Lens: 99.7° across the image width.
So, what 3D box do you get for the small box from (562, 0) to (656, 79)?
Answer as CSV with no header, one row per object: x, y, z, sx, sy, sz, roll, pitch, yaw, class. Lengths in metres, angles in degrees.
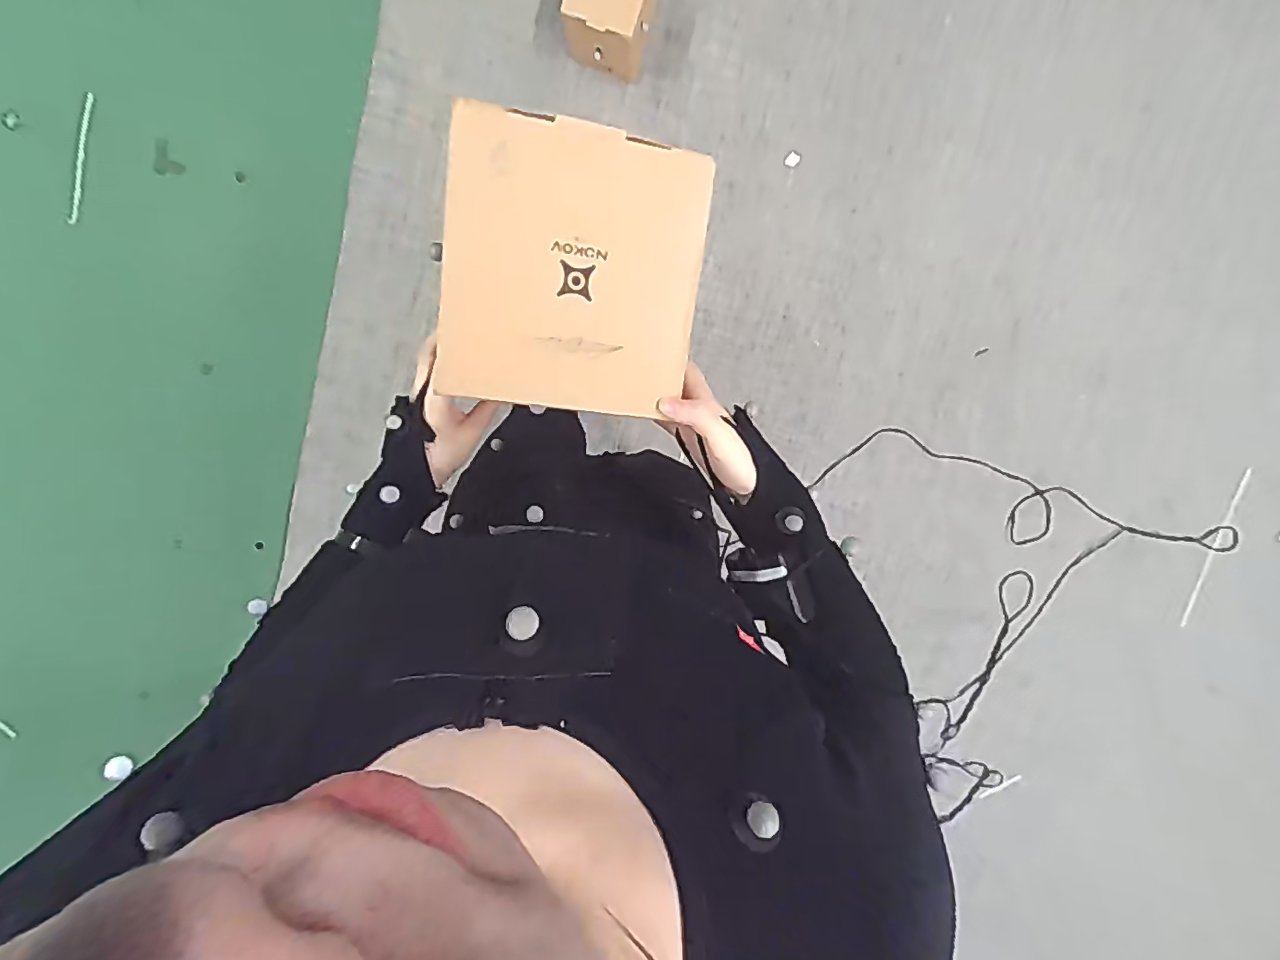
-0.062,-1.062,1.223,0.168,0.176,0.179,20,99,-3,small box
